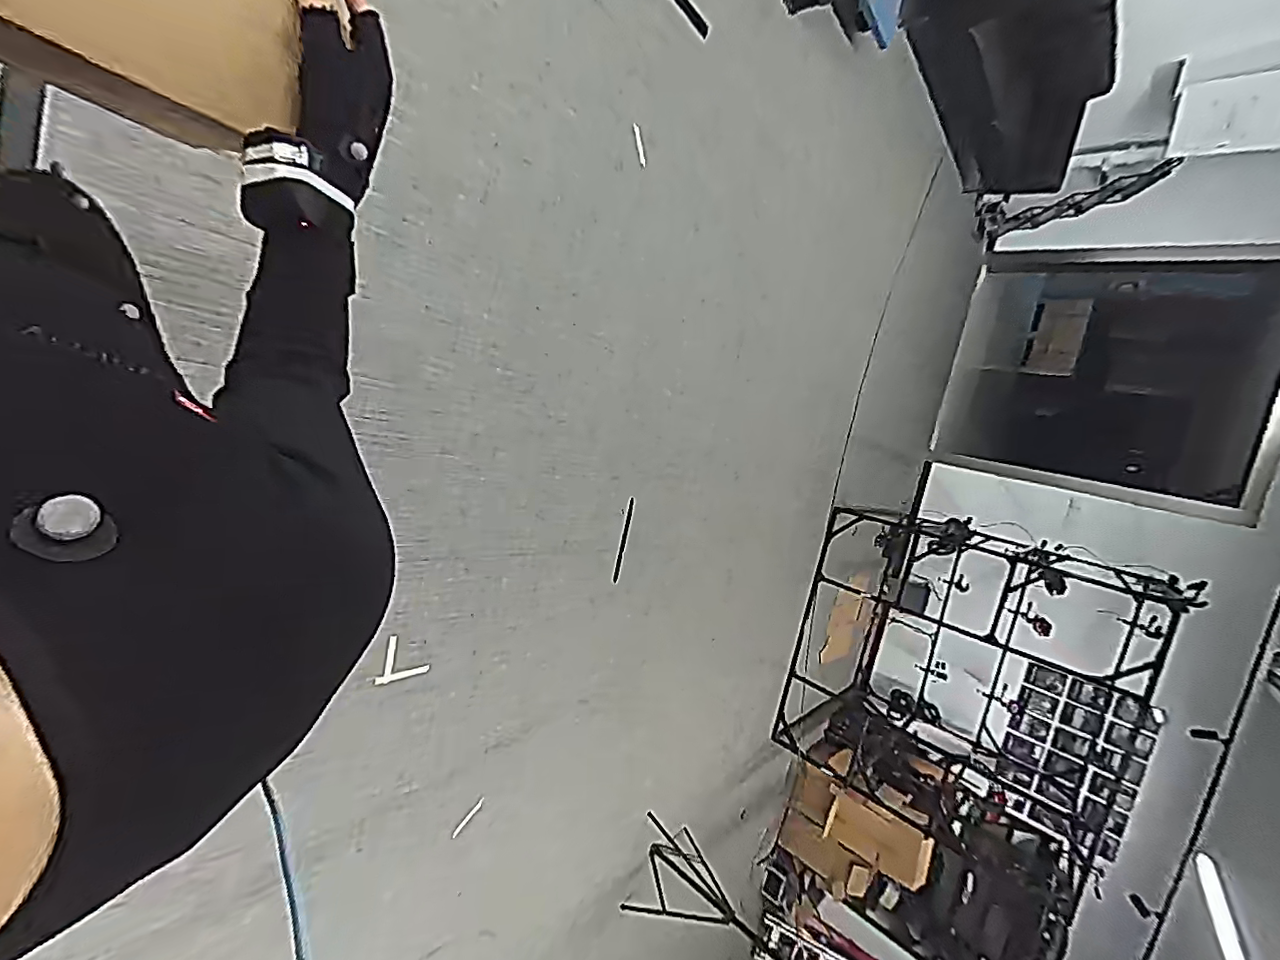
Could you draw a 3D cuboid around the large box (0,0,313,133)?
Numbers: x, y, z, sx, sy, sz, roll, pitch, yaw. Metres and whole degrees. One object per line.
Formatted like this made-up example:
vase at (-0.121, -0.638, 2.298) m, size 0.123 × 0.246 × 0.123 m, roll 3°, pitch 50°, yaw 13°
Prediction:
large box at (-0.474, -0.493, 0.348) m, size 0.408 × 0.320 × 0.320 m, roll 5°, pitch 109°, yaw -54°
